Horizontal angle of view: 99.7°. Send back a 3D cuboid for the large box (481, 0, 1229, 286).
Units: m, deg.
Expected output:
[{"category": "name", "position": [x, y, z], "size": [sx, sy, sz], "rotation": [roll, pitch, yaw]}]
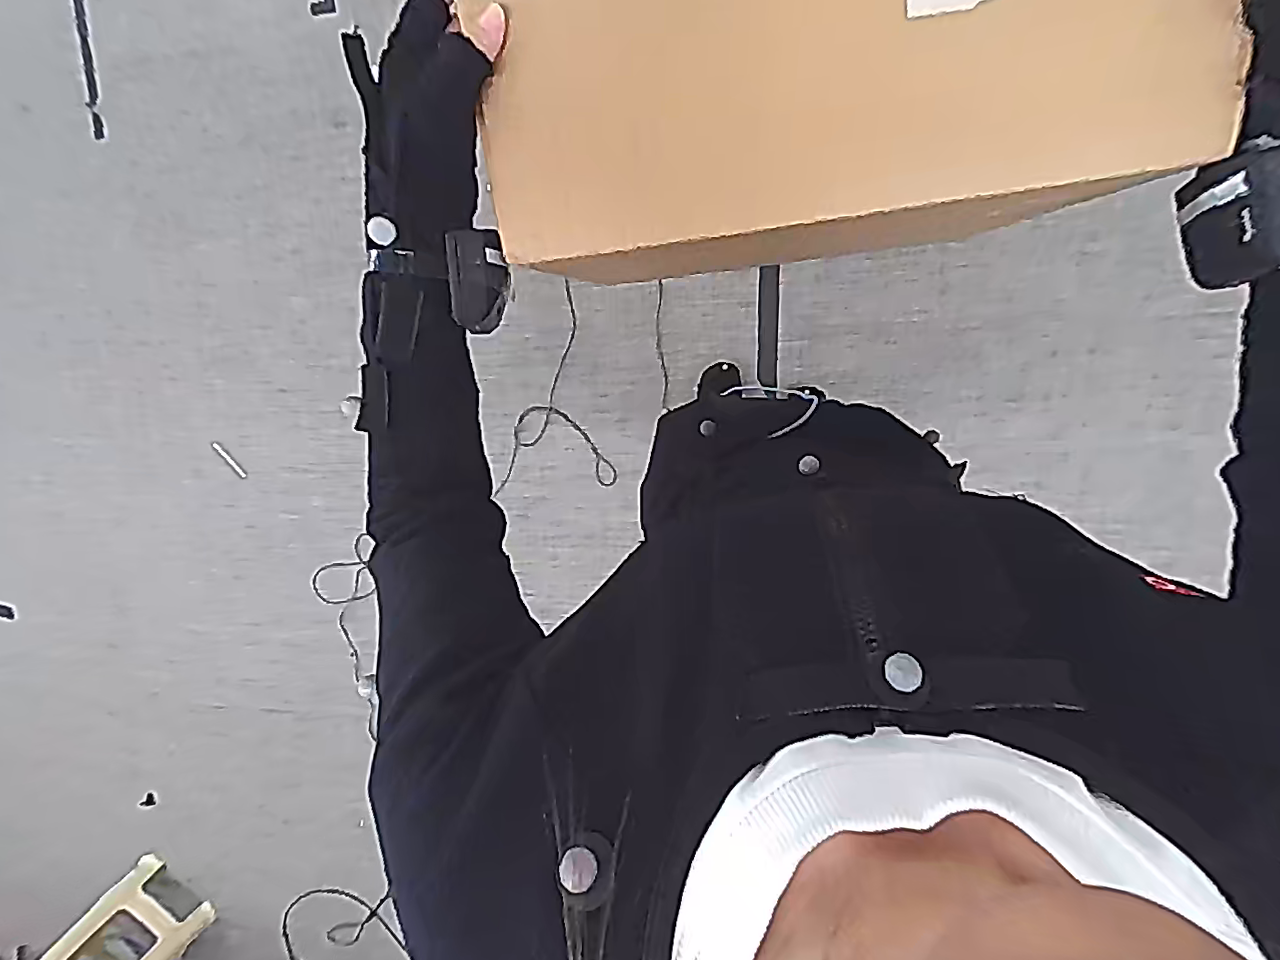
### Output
[{"category": "large box", "position": [0.115, -0.352, 0.430], "size": [0.408, 0.320, 0.320], "rotation": [-5, 107, 9]}]
